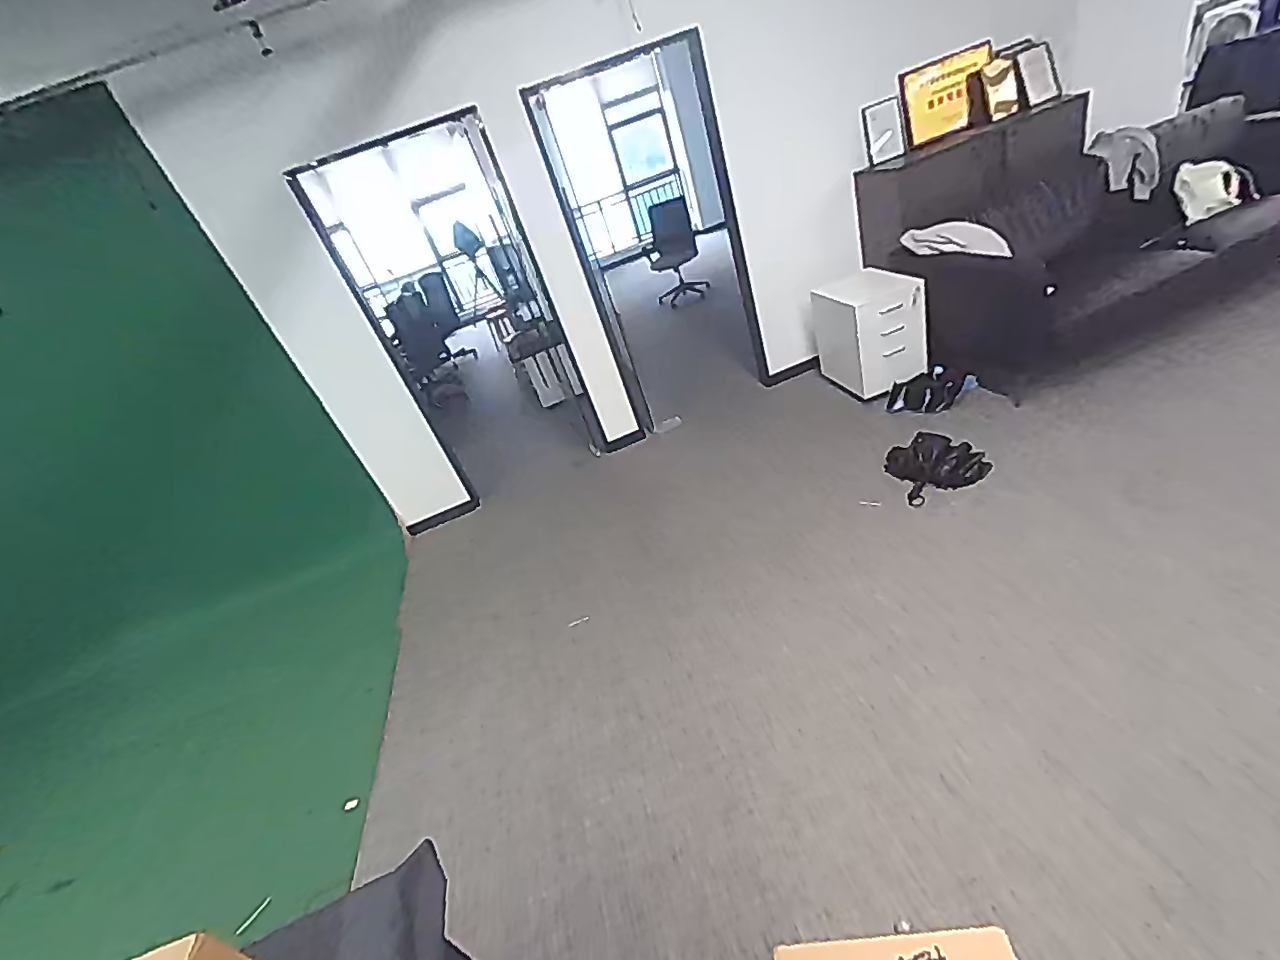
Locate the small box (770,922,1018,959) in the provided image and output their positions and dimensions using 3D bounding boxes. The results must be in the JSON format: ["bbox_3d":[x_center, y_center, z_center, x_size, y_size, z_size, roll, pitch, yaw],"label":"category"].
[{"bbox_3d":[0.192,0.436,0.361,0.168,0.176,0.179,-11,33,7],"label":"small box"}]

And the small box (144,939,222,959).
[{"bbox_3d":[-0.669,0.791,0.741,0.179,0.176,0.168,-23,28,-3],"label":"small box"}]
